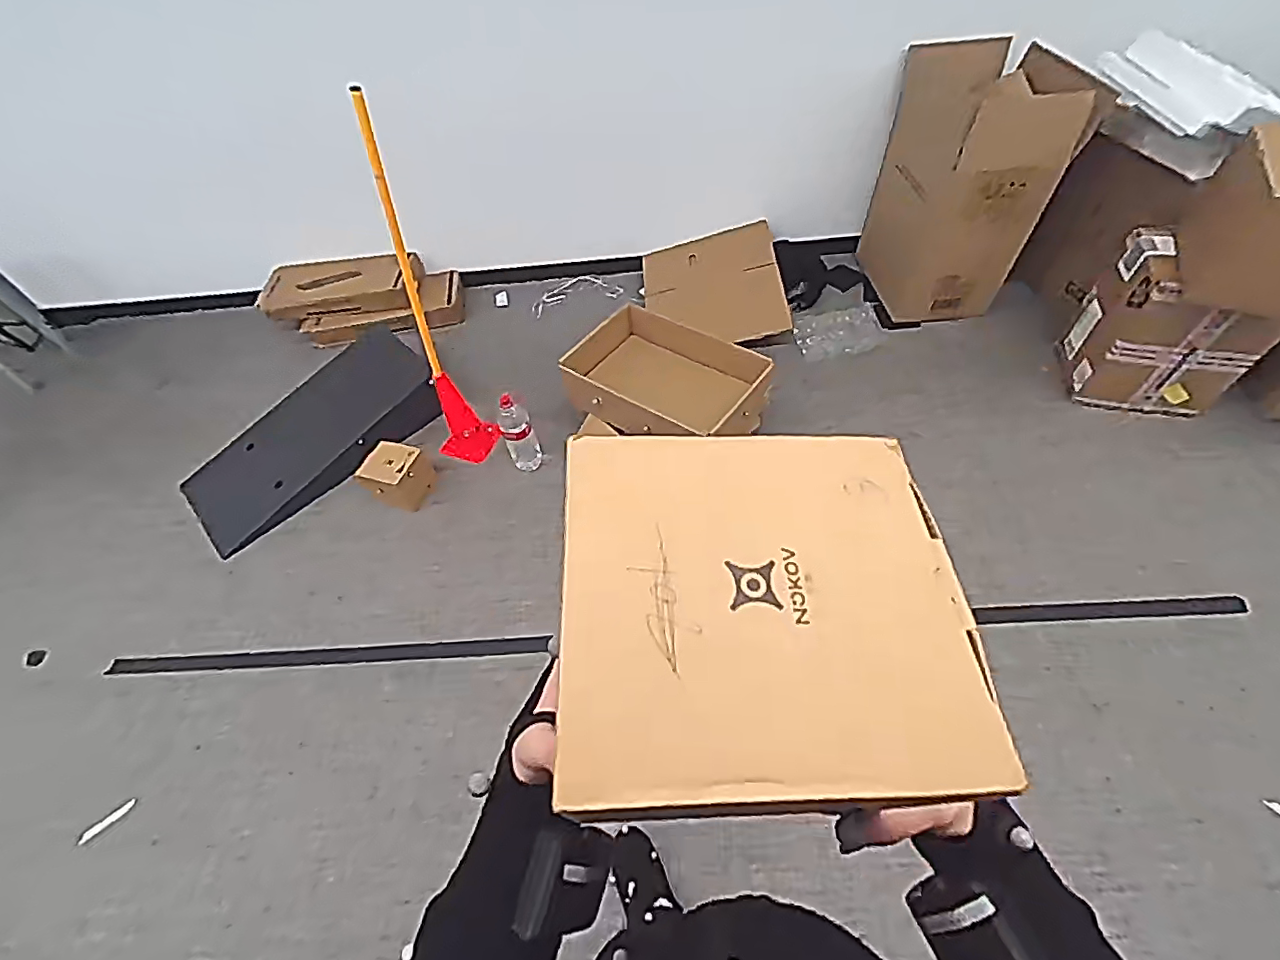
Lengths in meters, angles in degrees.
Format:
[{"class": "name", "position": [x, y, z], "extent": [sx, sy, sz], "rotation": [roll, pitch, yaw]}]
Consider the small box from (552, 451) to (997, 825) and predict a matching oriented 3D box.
[{"class": "small box", "position": [0.048, 0.099, 0.314], "extent": [0.179, 0.176, 0.168], "rotation": [-1, 56, -3]}]
